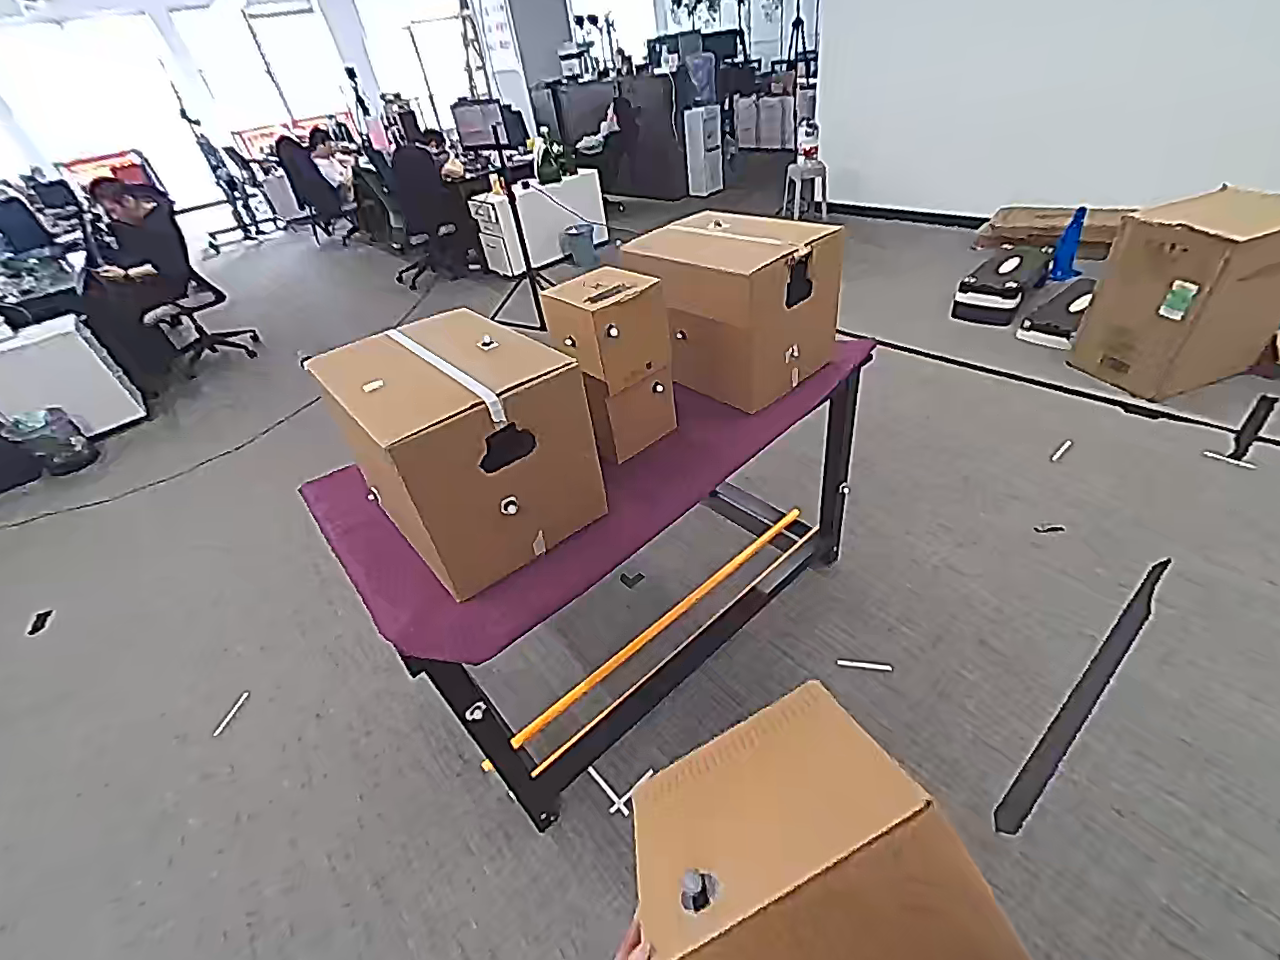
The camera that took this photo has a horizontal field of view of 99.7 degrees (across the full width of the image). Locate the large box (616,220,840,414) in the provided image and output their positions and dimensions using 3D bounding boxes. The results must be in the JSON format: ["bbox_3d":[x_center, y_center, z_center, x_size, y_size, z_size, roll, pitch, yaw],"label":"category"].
[{"bbox_3d":[0.209,-0.402,1.288,0.320,0.320,0.408,-33,43,-27],"label":"large box"}]

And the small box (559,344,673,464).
[{"bbox_3d":[-0.044,-0.164,1.158,0.179,0.176,0.168,-34,44,-27],"label":"small box"}]

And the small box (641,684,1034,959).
[{"bbox_3d":[0.112,0.269,0.354,0.179,0.168,0.176,-31,2,0],"label":"small box"}]
